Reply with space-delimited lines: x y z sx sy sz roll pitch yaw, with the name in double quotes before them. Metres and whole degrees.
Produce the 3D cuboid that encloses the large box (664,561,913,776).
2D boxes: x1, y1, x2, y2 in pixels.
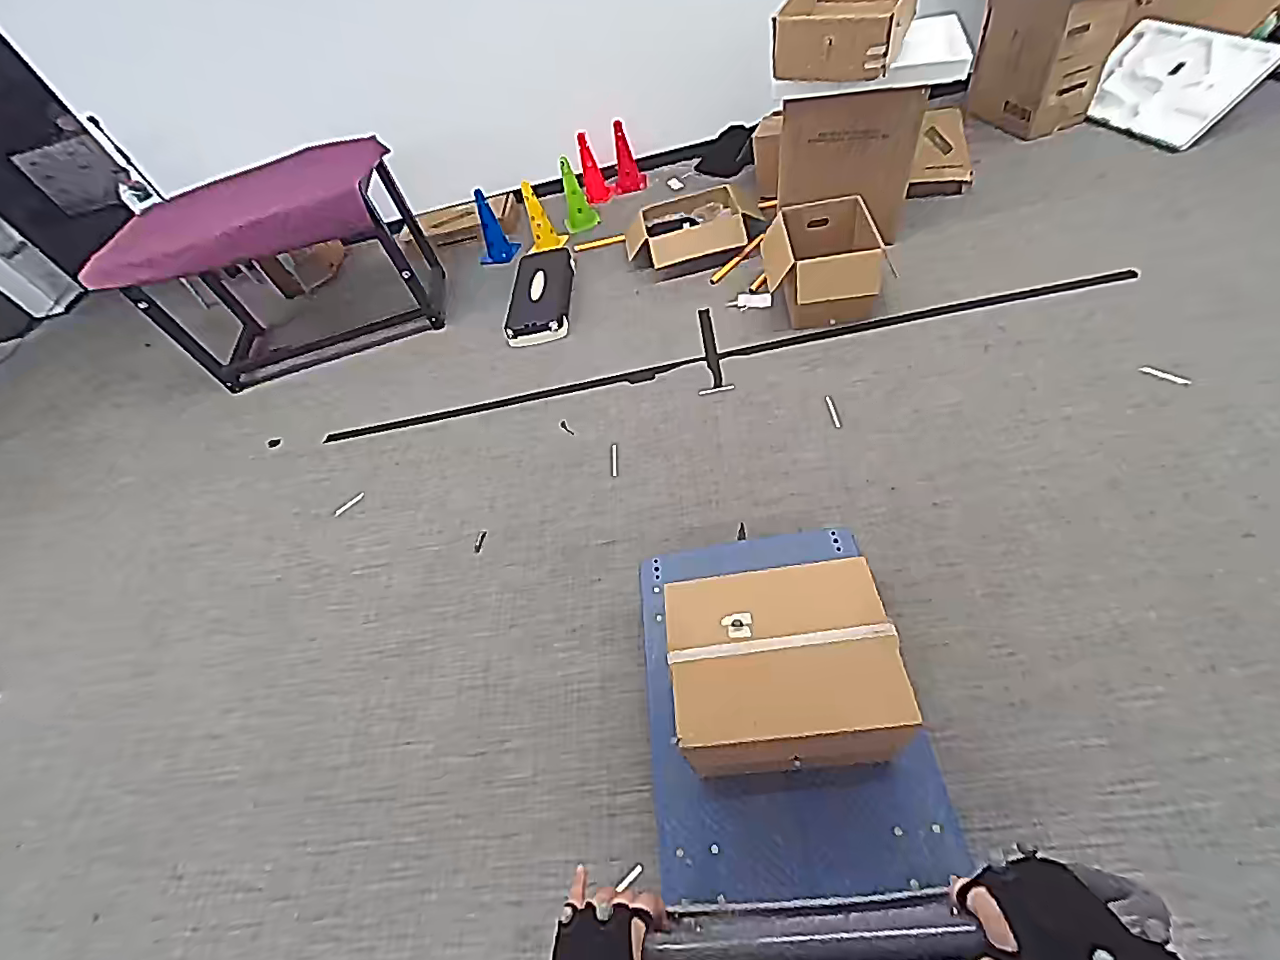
"large box" 0.286 0.404 1.127 0.408 0.320 0.320 -10 50 8
